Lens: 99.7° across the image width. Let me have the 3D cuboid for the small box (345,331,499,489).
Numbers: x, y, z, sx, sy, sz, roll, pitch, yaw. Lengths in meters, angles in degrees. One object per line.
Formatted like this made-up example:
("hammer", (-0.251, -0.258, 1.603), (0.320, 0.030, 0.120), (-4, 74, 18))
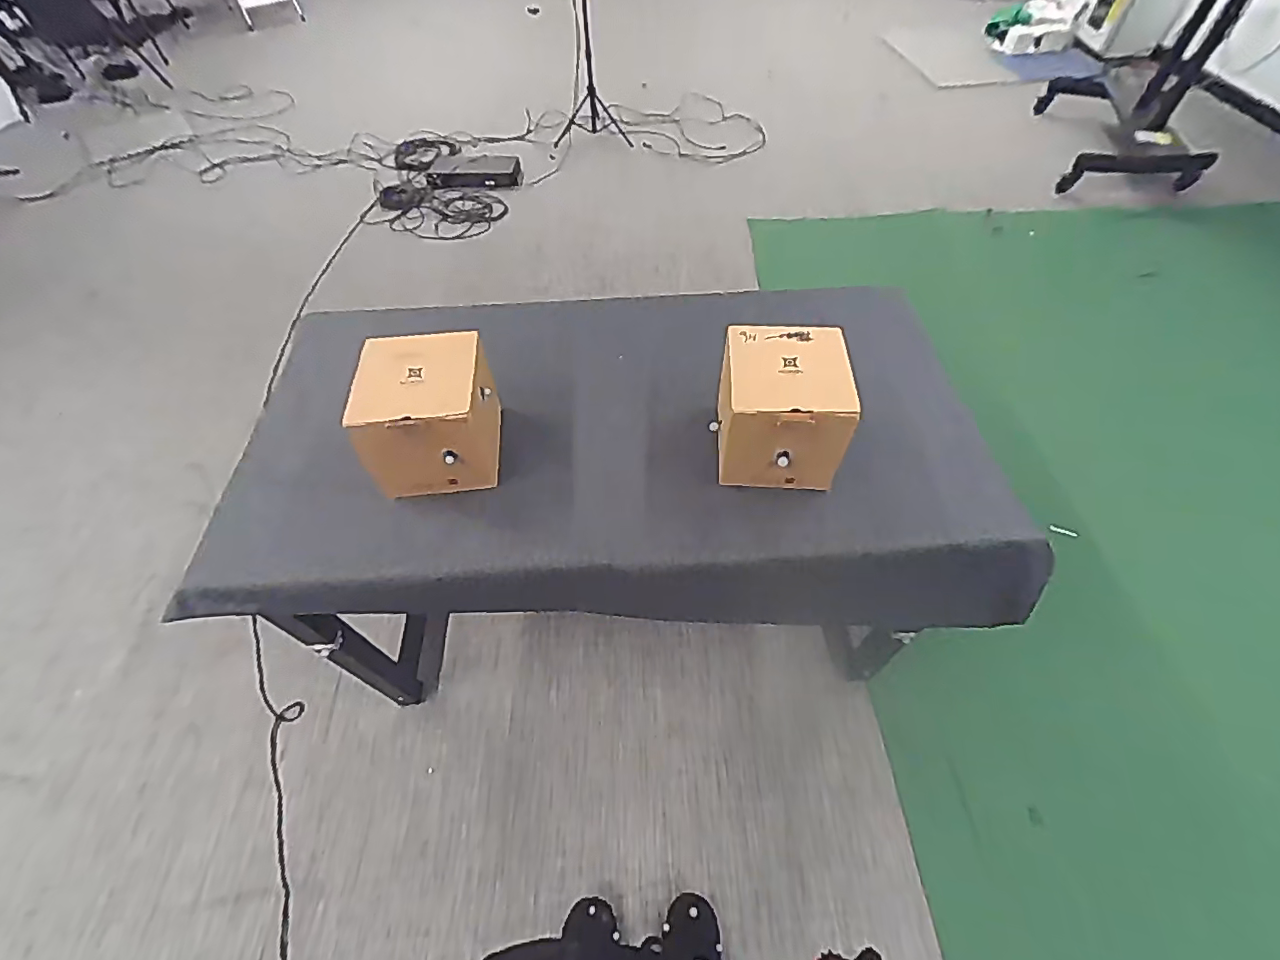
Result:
("small box", (-0.316, -0.099, 0.826), (0.168, 0.176, 0.179), (-6, 53, -4))

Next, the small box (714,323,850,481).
("small box", (0.201, -0.113, 0.813), (0.168, 0.176, 0.179), (2, 56, 4))
